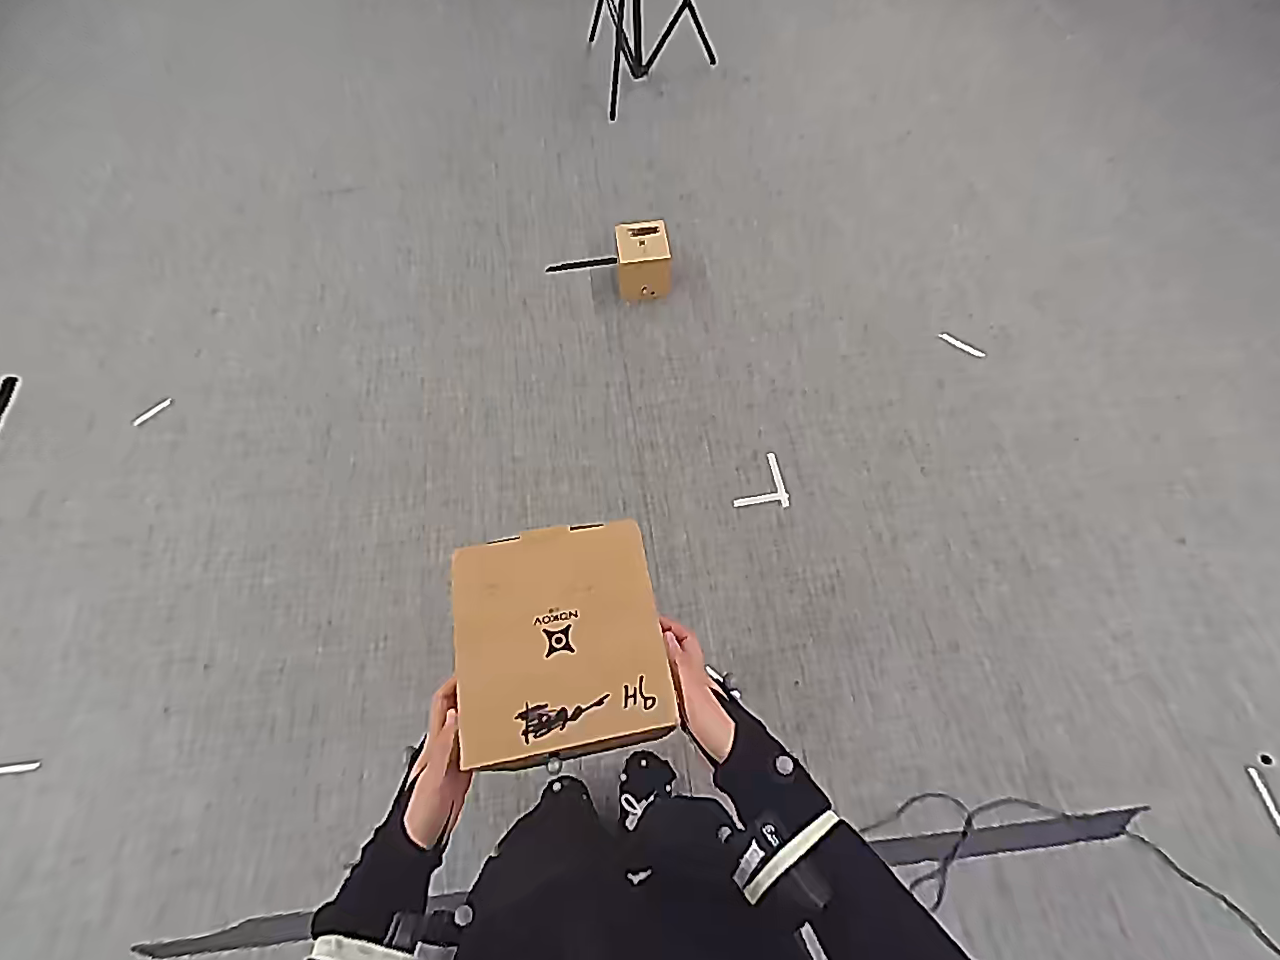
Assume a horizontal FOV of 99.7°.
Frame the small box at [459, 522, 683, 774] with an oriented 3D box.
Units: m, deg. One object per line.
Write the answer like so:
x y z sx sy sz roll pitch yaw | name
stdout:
-0.065 0.162 0.506 0.168 0.176 0.179 -9 62 -7 | small box
